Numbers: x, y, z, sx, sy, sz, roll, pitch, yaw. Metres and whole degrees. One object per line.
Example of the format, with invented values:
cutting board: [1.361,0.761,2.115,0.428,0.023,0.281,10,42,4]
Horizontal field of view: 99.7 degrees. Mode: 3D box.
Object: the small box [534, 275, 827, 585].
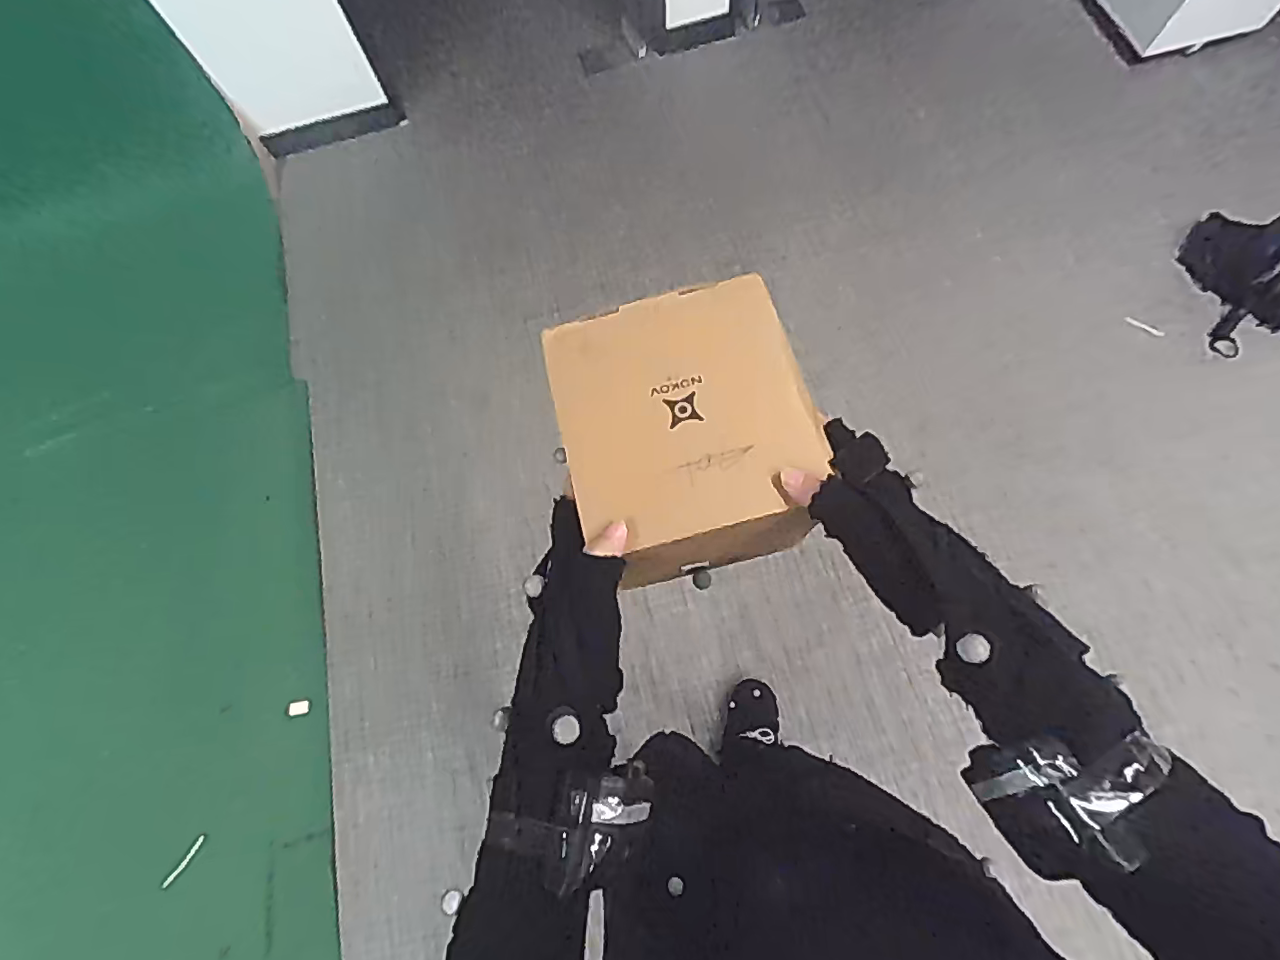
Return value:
small box: [0.027,-0.025,0.438,0.168,0.176,0.179,-14,72,2]
